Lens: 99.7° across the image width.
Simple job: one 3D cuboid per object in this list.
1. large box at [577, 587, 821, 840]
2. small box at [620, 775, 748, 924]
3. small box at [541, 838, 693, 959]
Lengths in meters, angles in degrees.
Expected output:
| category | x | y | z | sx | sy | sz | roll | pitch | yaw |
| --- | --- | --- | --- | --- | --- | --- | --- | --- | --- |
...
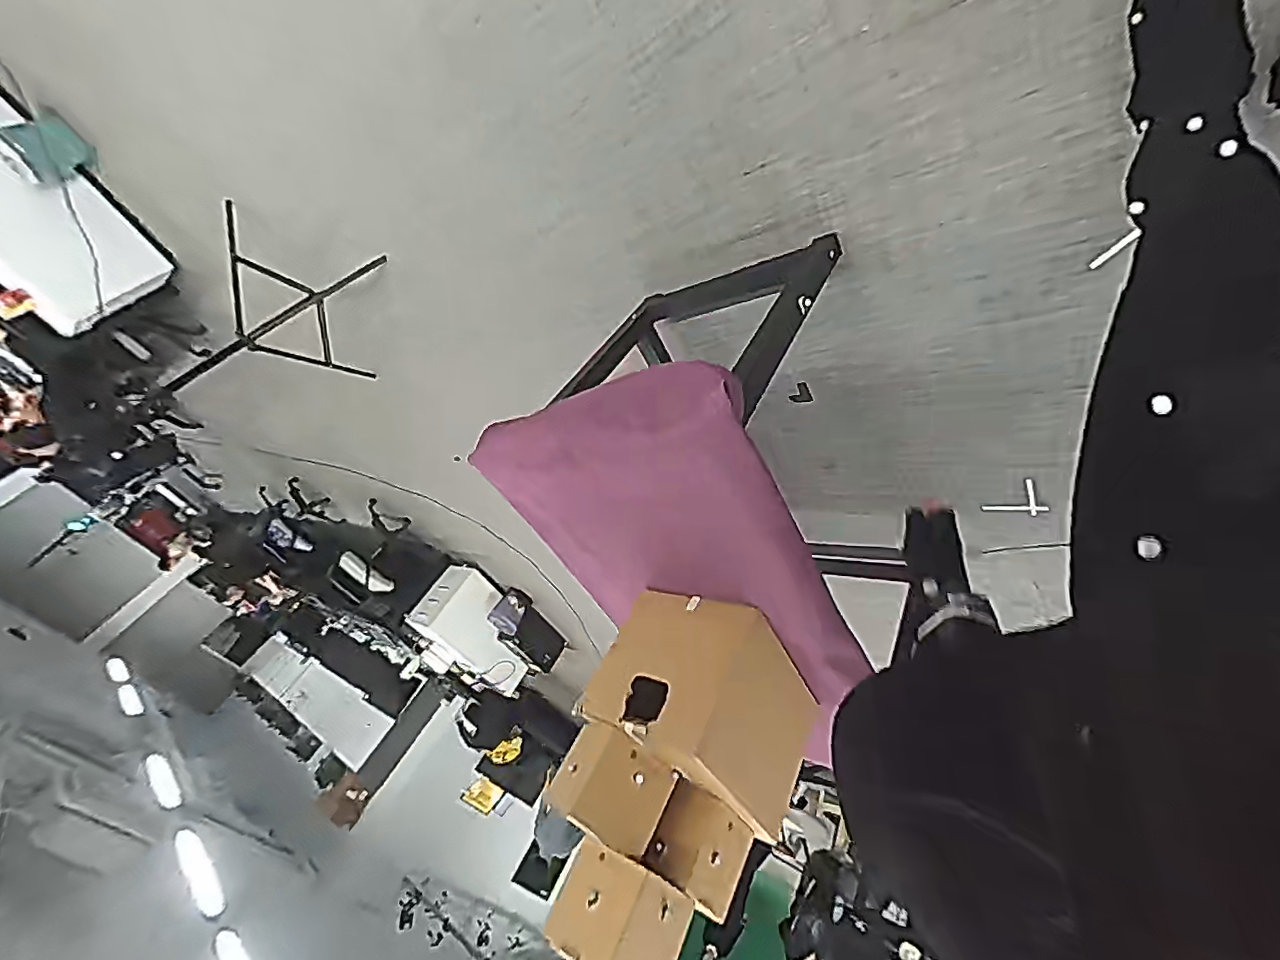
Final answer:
| category | x | y | z | sx | sy | sz | roll | pitch | yaw |
| --- | --- | --- | --- | --- | --- | --- | --- | --- | --- |
| large box | 0.148 | 0.491 | 1.187 | 0.320 | 0.320 | 0.408 | -3 | 131 | 42 |
| small box | 0.098 | 0.730 | 1.088 | 0.179 | 0.176 | 0.168 | -2 | 131 | 45 |
| small box | -0.035 | 0.780 | 0.964 | 0.168 | 0.176 | 0.179 | -5 | 132 | 45 |
